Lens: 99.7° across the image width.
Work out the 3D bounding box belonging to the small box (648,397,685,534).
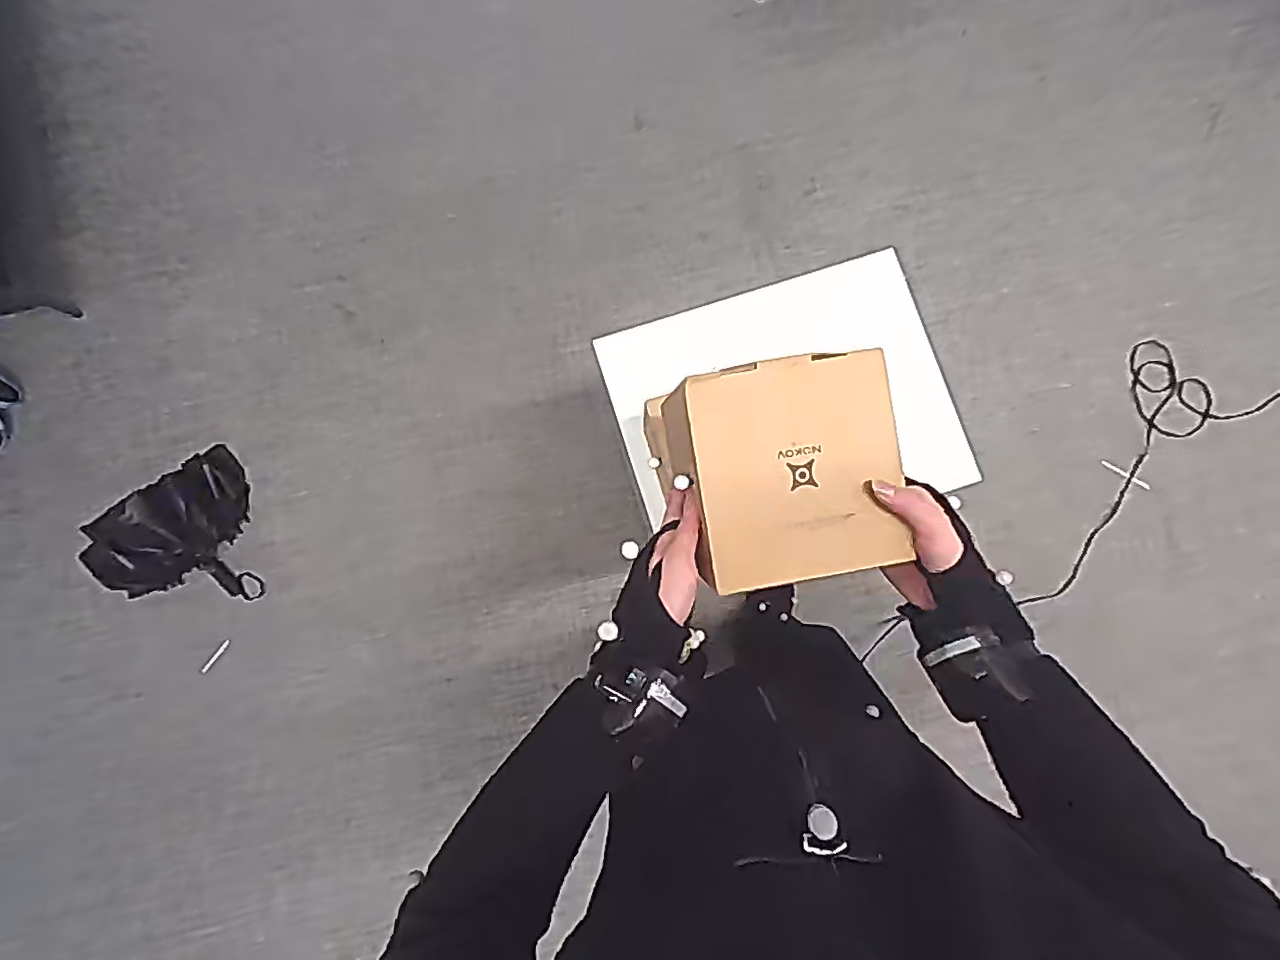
[{"bbox_3d":[0.111,-0.022,0.754,0.168,0.176,0.179,-17,84,-2],"label":"small box"}]

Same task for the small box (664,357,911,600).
[{"bbox_3d":[0.121,-0.002,0.509,0.168,0.176,0.179,-9,91,-3],"label":"small box"}]
